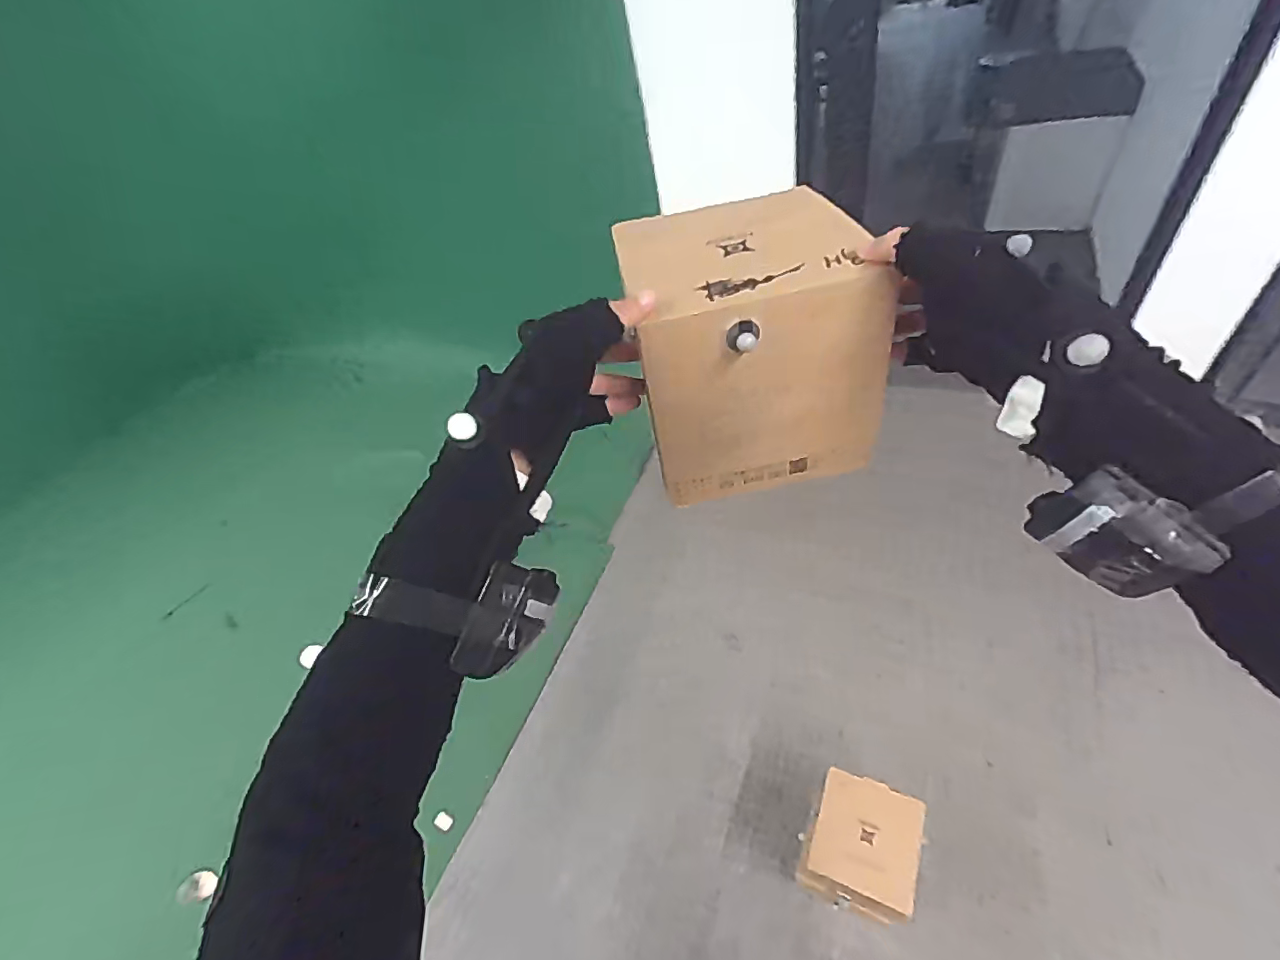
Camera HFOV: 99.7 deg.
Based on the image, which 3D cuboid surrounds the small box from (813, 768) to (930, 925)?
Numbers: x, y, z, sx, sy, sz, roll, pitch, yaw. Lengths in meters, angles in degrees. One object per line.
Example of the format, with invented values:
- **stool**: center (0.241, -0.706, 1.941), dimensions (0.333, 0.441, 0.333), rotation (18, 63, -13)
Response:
- **small box**: center (0.418, 0.668, 0.987), dimensions (0.168, 0.176, 0.179), rotation (10, 52, 26)

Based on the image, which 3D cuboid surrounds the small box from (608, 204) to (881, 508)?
- **small box**: center (0.073, -0.104, 0.451), dimensions (0.168, 0.176, 0.179), rotation (-13, 42, 1)

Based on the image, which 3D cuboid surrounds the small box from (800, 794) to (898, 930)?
- **small box**: center (0.435, 0.780, 1.103), dimensions (0.179, 0.176, 0.168), rotation (11, 52, 27)
